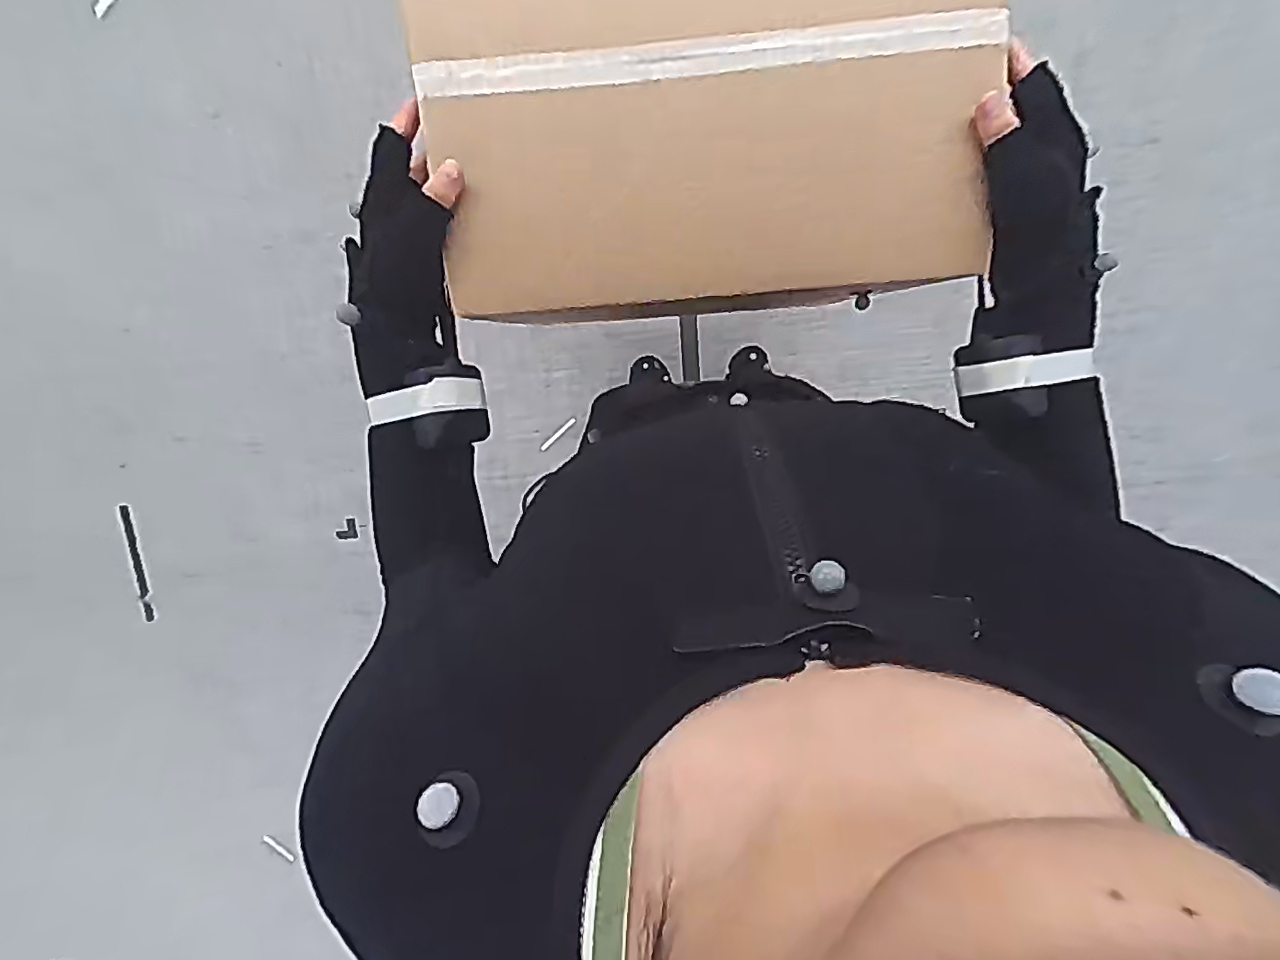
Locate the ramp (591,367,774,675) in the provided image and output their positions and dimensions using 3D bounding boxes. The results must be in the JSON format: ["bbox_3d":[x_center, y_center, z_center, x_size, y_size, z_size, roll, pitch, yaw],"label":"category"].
[{"bbox_3d":[0.157,0.176,1.623,0.509,0.206,0.991,-6,102,1],"label":"ramp"}]

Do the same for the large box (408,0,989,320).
[{"bbox_3d":[0.042,-0.332,0.521,0.408,0.320,0.320,-5,105,0],"label":"large box"}]
